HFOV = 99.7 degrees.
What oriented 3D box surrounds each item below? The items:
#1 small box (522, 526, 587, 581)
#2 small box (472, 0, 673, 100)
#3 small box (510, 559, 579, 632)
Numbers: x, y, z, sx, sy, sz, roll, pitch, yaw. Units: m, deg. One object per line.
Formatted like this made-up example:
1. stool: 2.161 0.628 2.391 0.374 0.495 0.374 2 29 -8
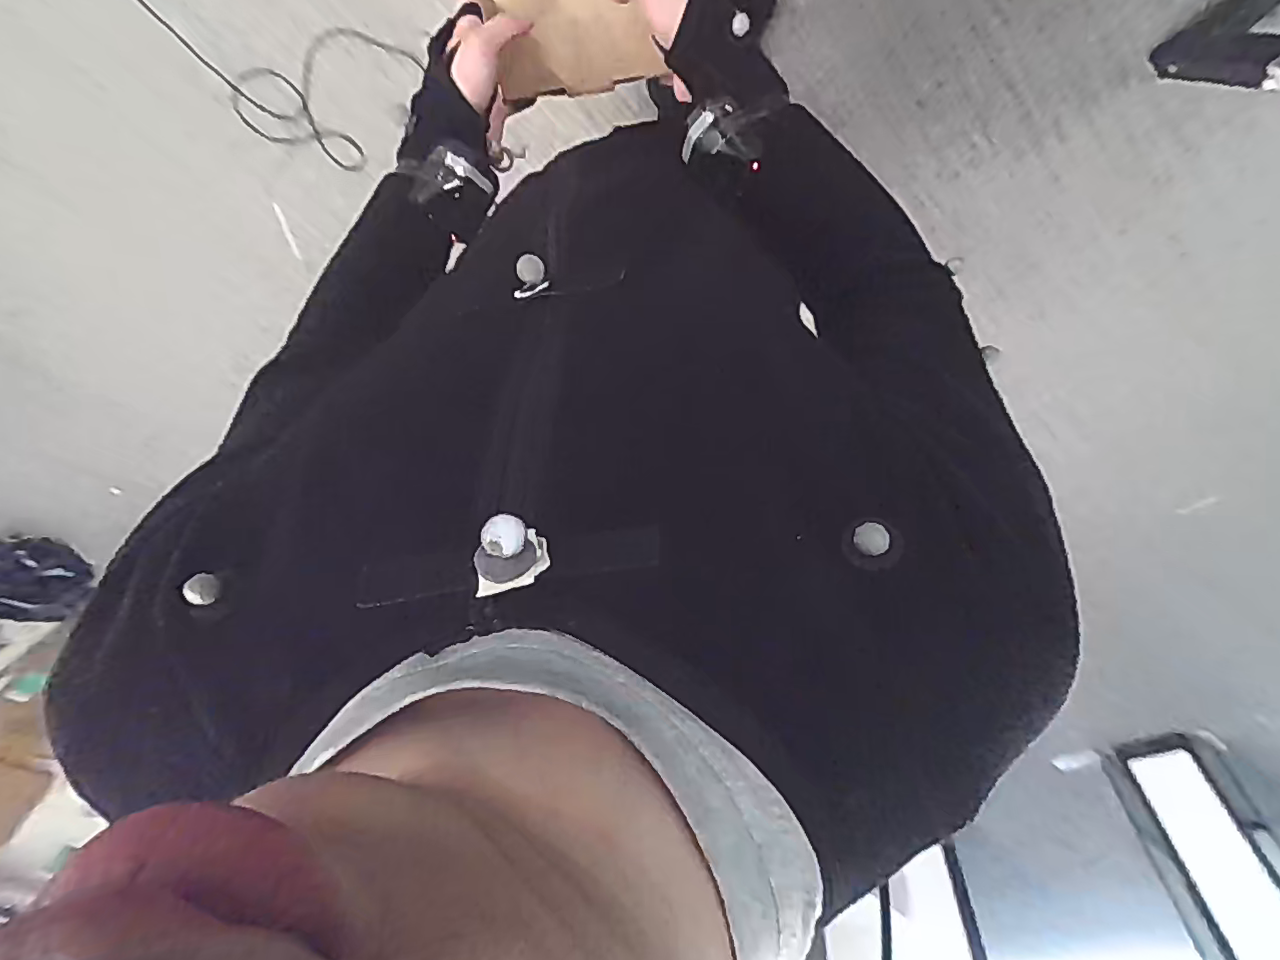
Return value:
1. small box: -0.322 0.310 2.084 0.168 0.176 0.179 38 125 -23
2. small box: -0.061 -0.474 0.481 0.168 0.176 0.179 -7 137 5
3. small box: -0.339 0.414 1.961 0.168 0.176 0.179 38 126 -21
